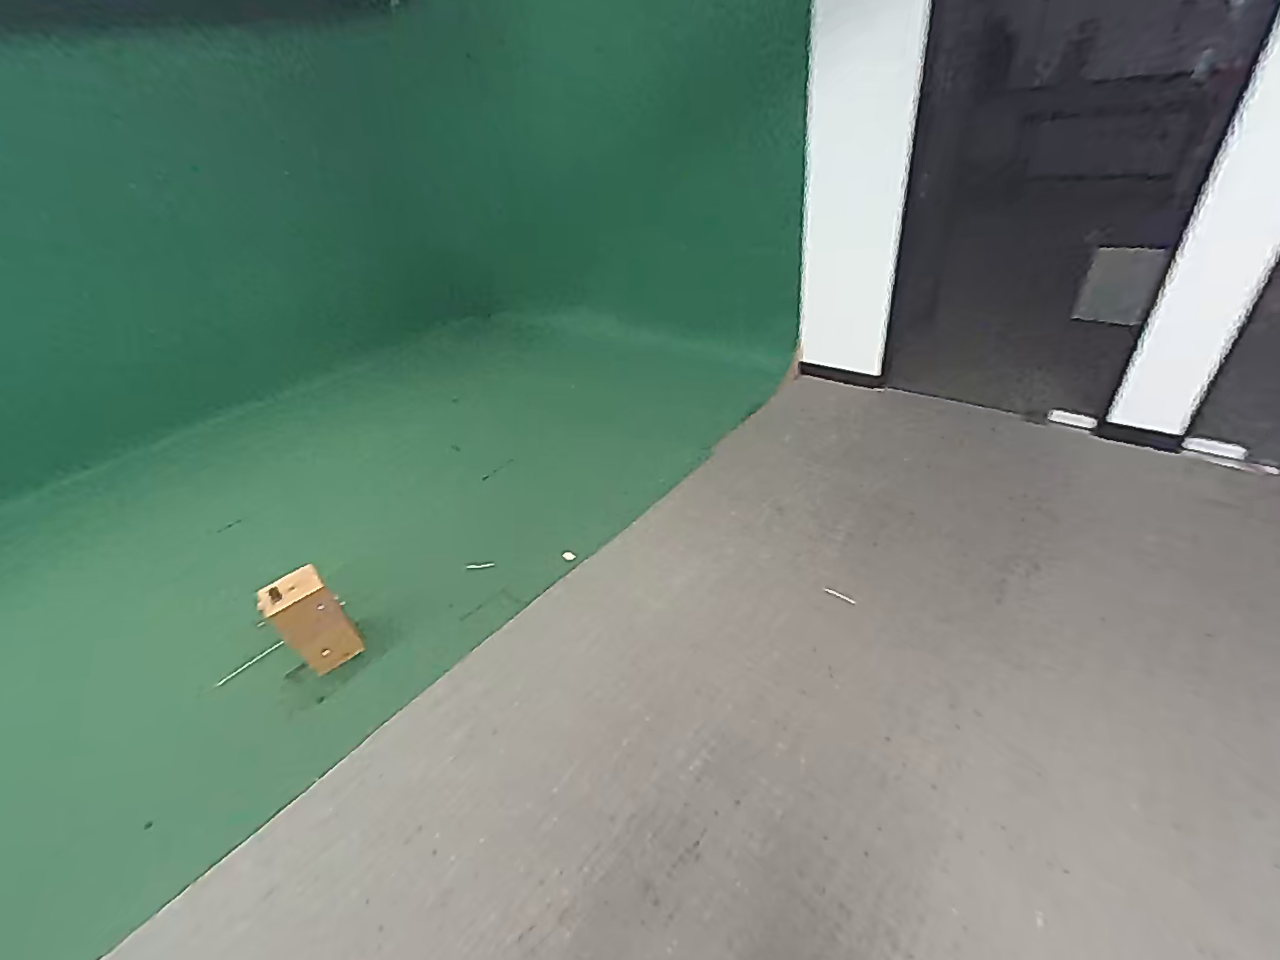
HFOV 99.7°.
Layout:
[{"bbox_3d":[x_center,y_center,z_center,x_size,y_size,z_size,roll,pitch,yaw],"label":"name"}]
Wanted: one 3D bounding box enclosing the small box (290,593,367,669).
[{"bbox_3d":[-1.105,0.544,1.925,0.168,0.176,0.179,-31,41,-27],"label":"small box"}]
